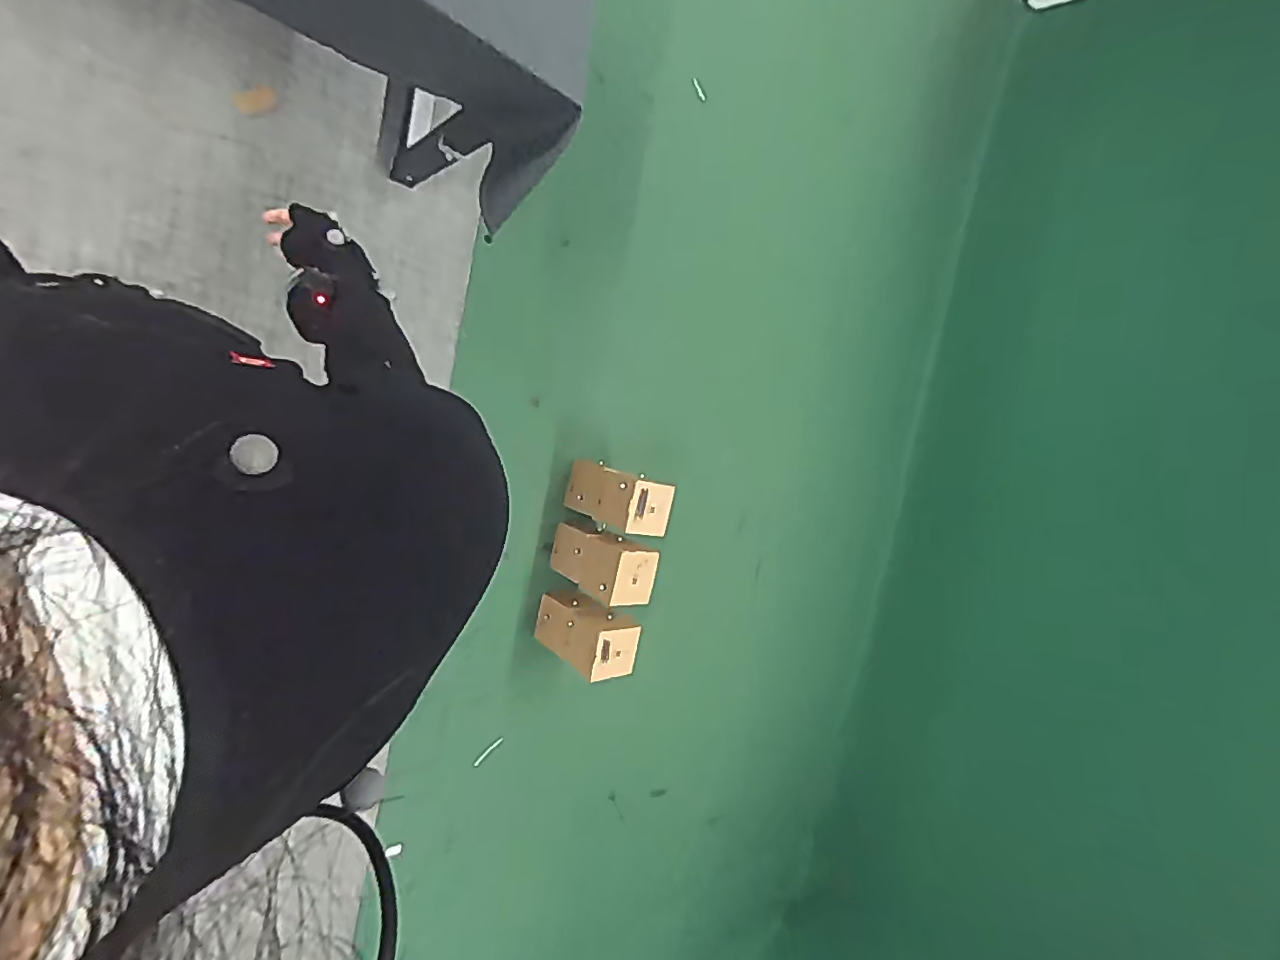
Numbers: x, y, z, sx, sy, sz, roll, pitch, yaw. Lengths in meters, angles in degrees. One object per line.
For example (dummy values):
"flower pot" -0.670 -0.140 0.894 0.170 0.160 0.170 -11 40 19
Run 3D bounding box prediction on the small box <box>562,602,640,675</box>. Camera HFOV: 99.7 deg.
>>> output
"small box" -0.131 0.508 1.757 0.179 0.176 0.168 7 98 -43

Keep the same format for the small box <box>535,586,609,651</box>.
"small box" -0.237 0.474 1.877 0.179 0.176 0.168 8 97 -42

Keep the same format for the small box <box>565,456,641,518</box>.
"small box" -0.130 0.022 1.846 0.179 0.176 0.168 14 93 -43
